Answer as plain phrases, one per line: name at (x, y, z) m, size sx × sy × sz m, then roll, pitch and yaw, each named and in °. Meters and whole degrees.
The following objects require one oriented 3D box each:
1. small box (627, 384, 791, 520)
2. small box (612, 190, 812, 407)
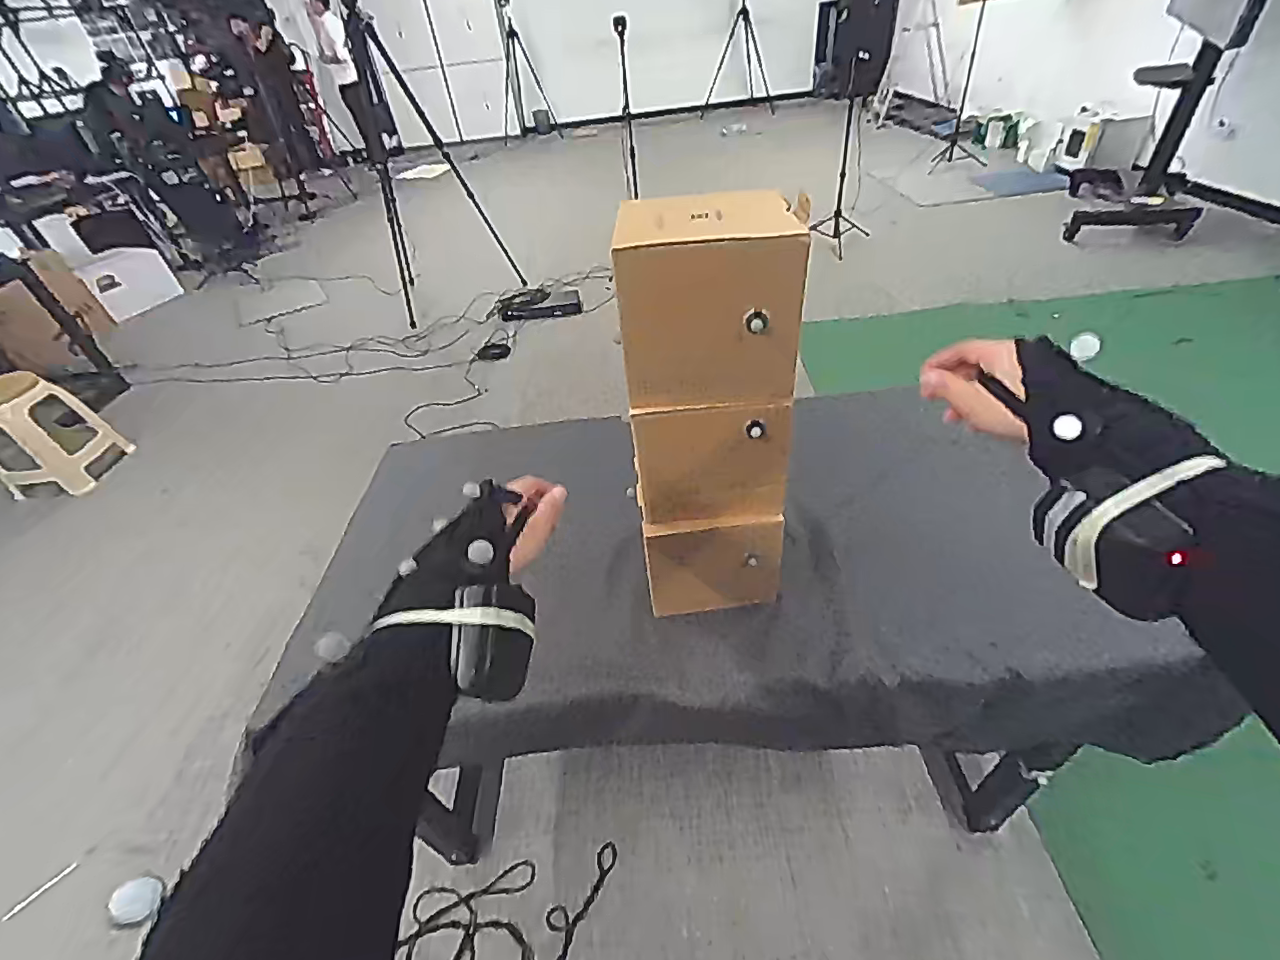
small box at (0.079, -0.065, 0.679) m, size 0.179 × 0.176 × 0.168 m, roll -5°, pitch 40°, yaw 2°
small box at (0.070, -0.192, 0.578) m, size 0.179 × 0.176 × 0.168 m, roll -4°, pitch 39°, yaw 4°
